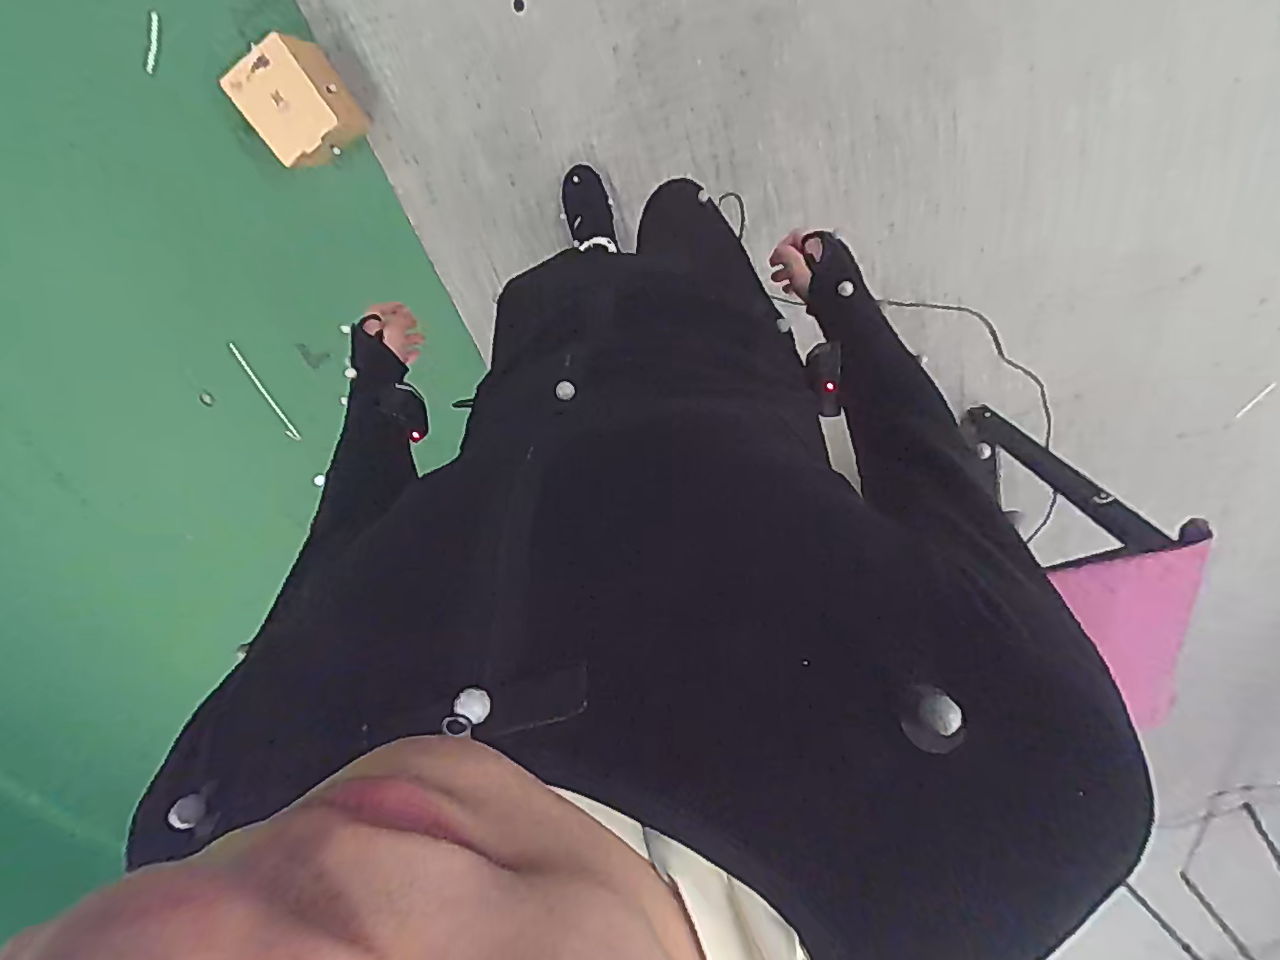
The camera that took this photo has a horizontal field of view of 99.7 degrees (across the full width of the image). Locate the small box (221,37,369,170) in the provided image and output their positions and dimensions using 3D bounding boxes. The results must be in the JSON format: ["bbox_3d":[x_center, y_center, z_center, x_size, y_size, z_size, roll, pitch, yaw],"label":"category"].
[{"bbox_3d":[-0.735,-0.810,1.177,0.168,0.176,0.179,-26,119,14],"label":"small box"}]
